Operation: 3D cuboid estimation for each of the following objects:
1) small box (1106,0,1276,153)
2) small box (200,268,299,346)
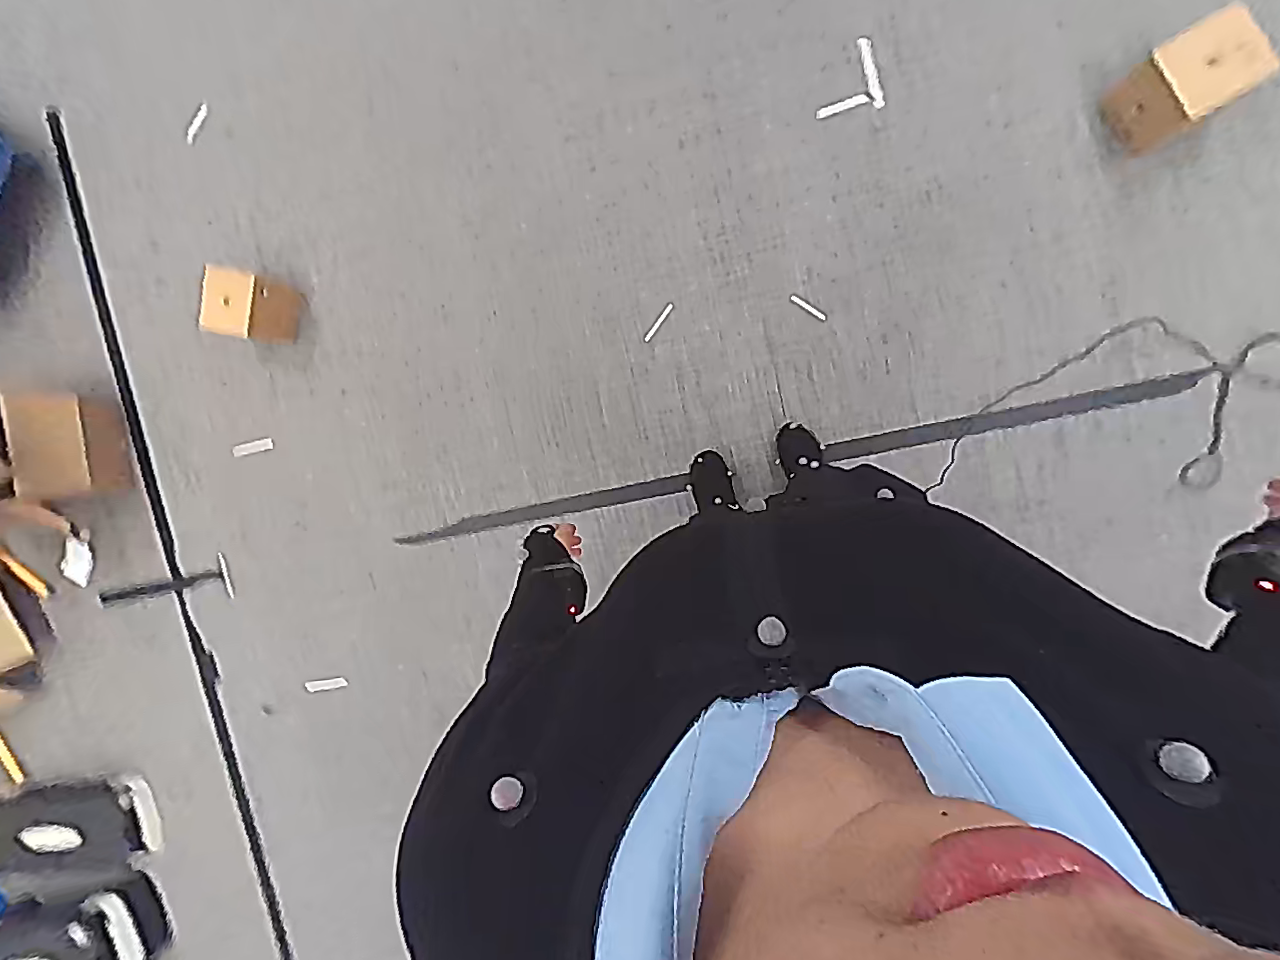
[{"bbox_3d":[1.172,-0.862,1.174,0.179,0.176,0.168,-29,89,10],"label":"small box"},{"bbox_3d":[-1.149,-0.504,1.603,0.168,0.176,0.179,12,96,9],"label":"small box"}]
